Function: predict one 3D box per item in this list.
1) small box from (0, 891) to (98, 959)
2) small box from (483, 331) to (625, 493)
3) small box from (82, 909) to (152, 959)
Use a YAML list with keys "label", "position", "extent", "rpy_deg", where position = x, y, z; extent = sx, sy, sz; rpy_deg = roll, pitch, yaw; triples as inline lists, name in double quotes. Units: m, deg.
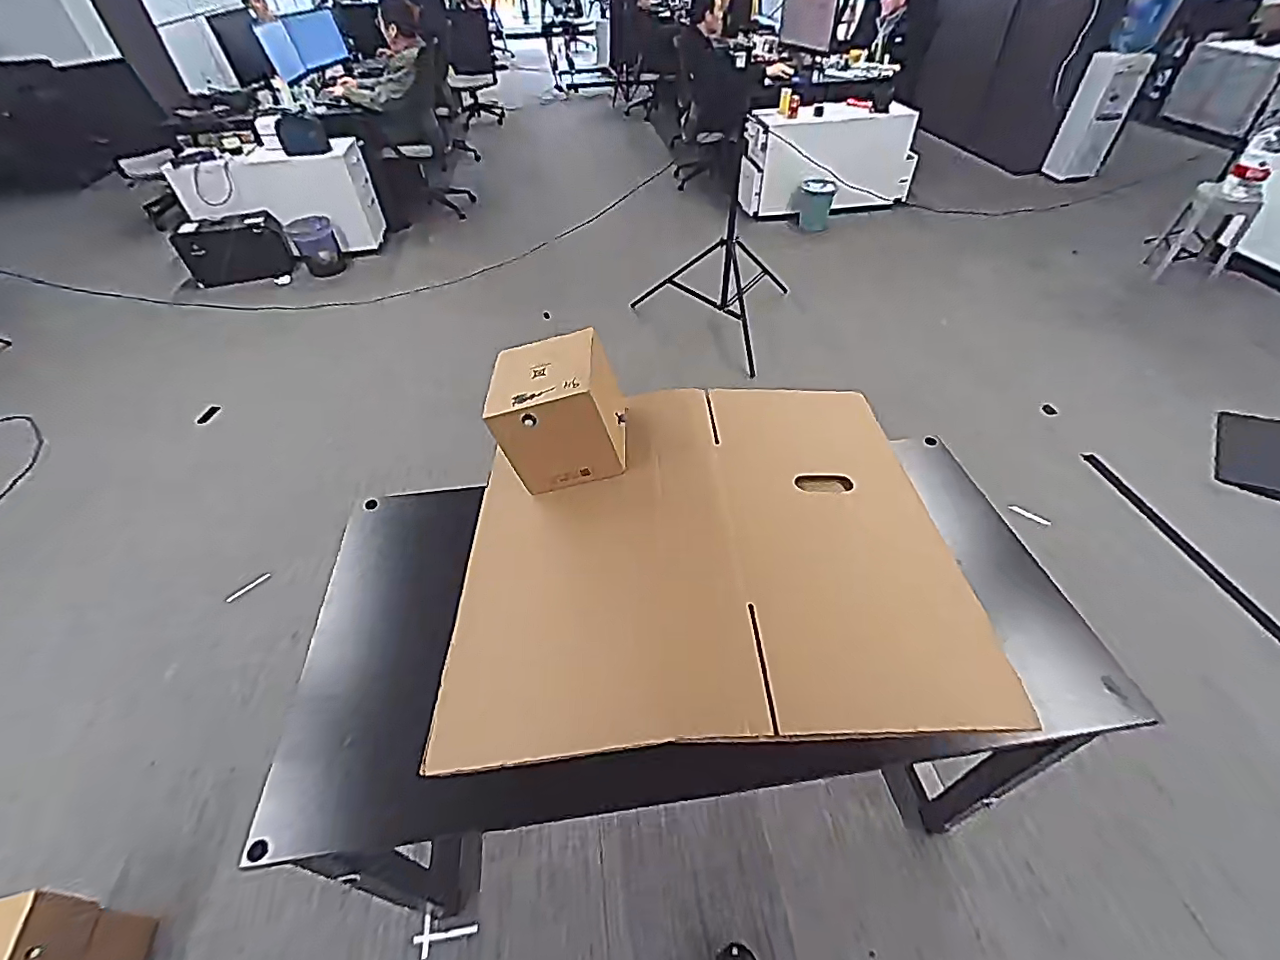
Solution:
- label: "small box"
  position: [-1.134, 0.868, 0.956]
  extent: [0.168, 0.176, 0.179]
  rpy_deg: [-11, 45, -10]
- label: "small box"
  position: [-0.126, -0.107, 0.869]
  extent: [0.168, 0.176, 0.179]
  rpy_deg: [-14, 43, 10]
- label: "small box"
  position: [-1.127, 0.986, 1.067]
  extent: [0.168, 0.176, 0.179]
  rpy_deg: [-10, 47, -7]
